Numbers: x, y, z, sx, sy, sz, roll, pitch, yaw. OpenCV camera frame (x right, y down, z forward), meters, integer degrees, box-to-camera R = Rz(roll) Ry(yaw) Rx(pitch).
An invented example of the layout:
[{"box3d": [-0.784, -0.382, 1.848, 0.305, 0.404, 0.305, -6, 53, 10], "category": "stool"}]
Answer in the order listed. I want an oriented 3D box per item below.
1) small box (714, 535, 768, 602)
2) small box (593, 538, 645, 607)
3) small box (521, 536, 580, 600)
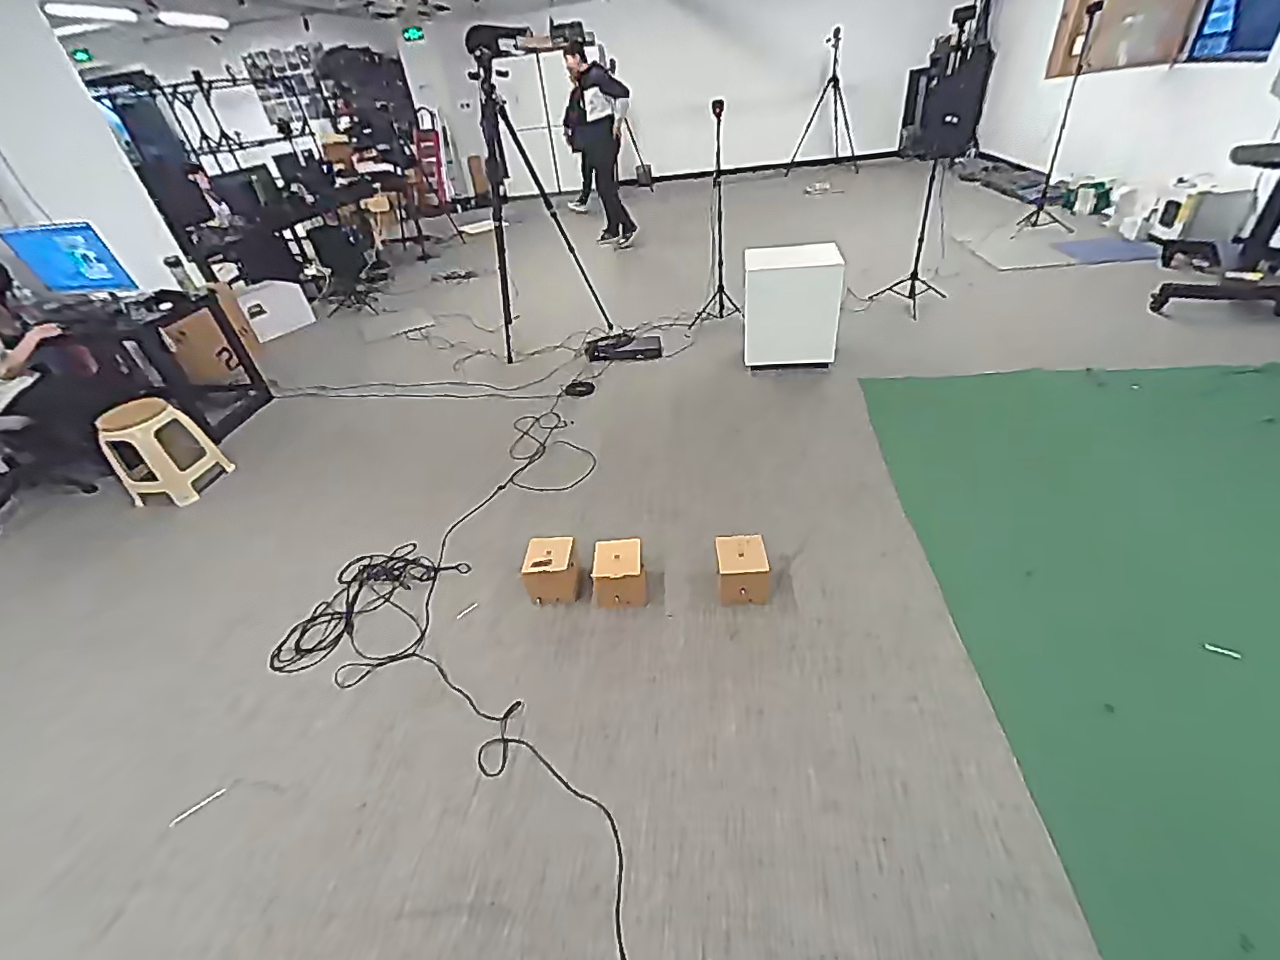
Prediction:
[{"box3d": [0.351, 0.316, 1.894, 0.168, 0.176, 0.179, -3, 38, 3], "category": "small box"}, {"box3d": [-0.073, 0.333, 1.944, 0.168, 0.176, 0.179, -5, 38, 4], "category": "small box"}, {"box3d": [-0.323, 0.328, 1.992, 0.168, 0.176, 0.179, -3, 37, 6], "category": "small box"}]
